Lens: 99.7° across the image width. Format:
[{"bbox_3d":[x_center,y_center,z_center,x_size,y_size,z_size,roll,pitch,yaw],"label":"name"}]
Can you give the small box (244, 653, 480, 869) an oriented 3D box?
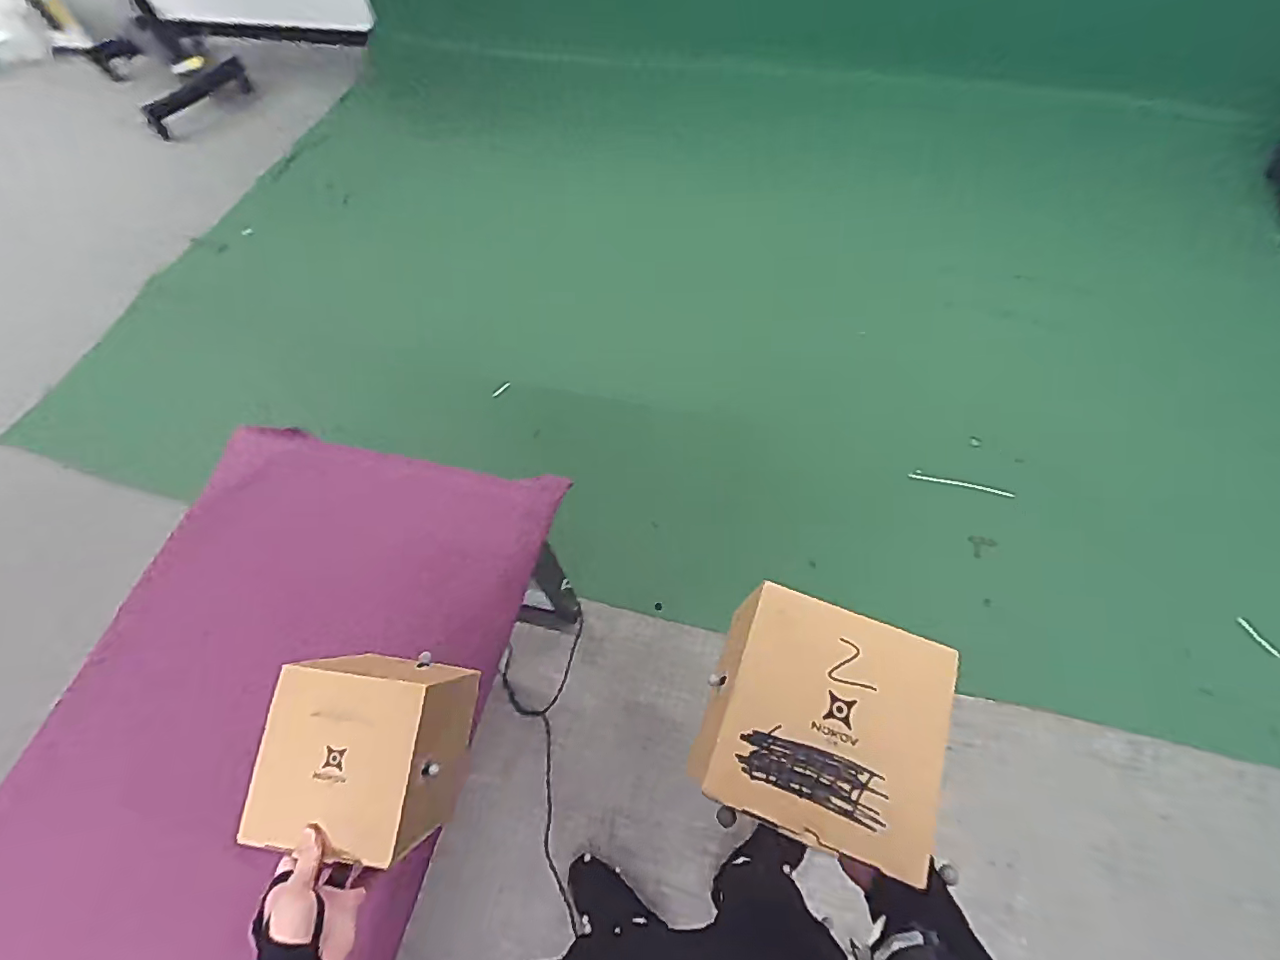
[{"bbox_3d":[-0.305,0.309,0.636,0.168,0.176,0.179,7,76,5],"label":"small box"}]
